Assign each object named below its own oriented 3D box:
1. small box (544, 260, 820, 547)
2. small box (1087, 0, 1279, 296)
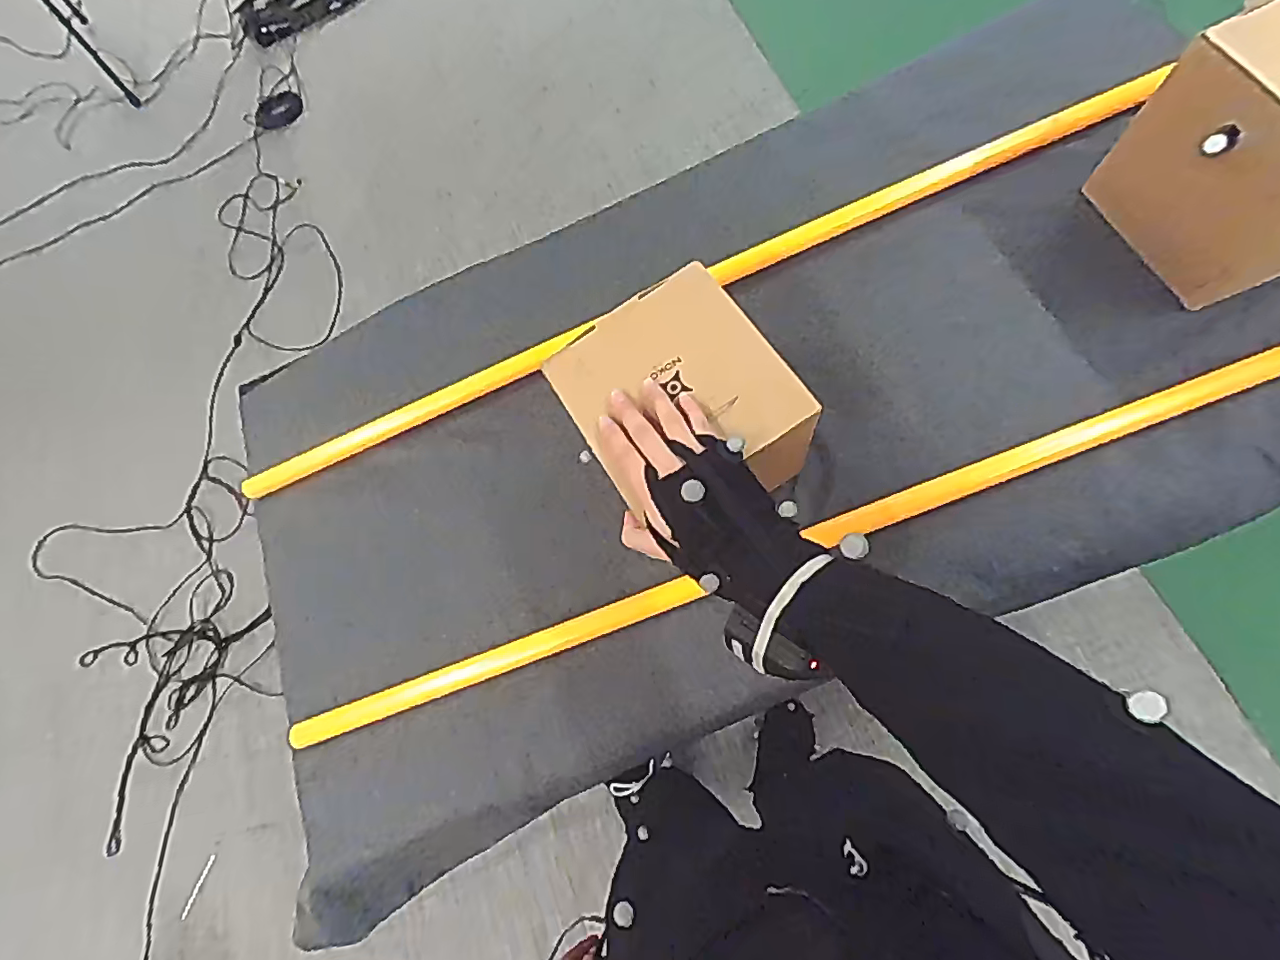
[{"bbox_3d":[0.040,-0.058,0.512,0.168,0.176,0.179,-34,71,1],"label":"small box"},{"bbox_3d":[0.564,-0.292,0.477,0.168,0.176,0.179,-23,70,5],"label":"small box"}]
